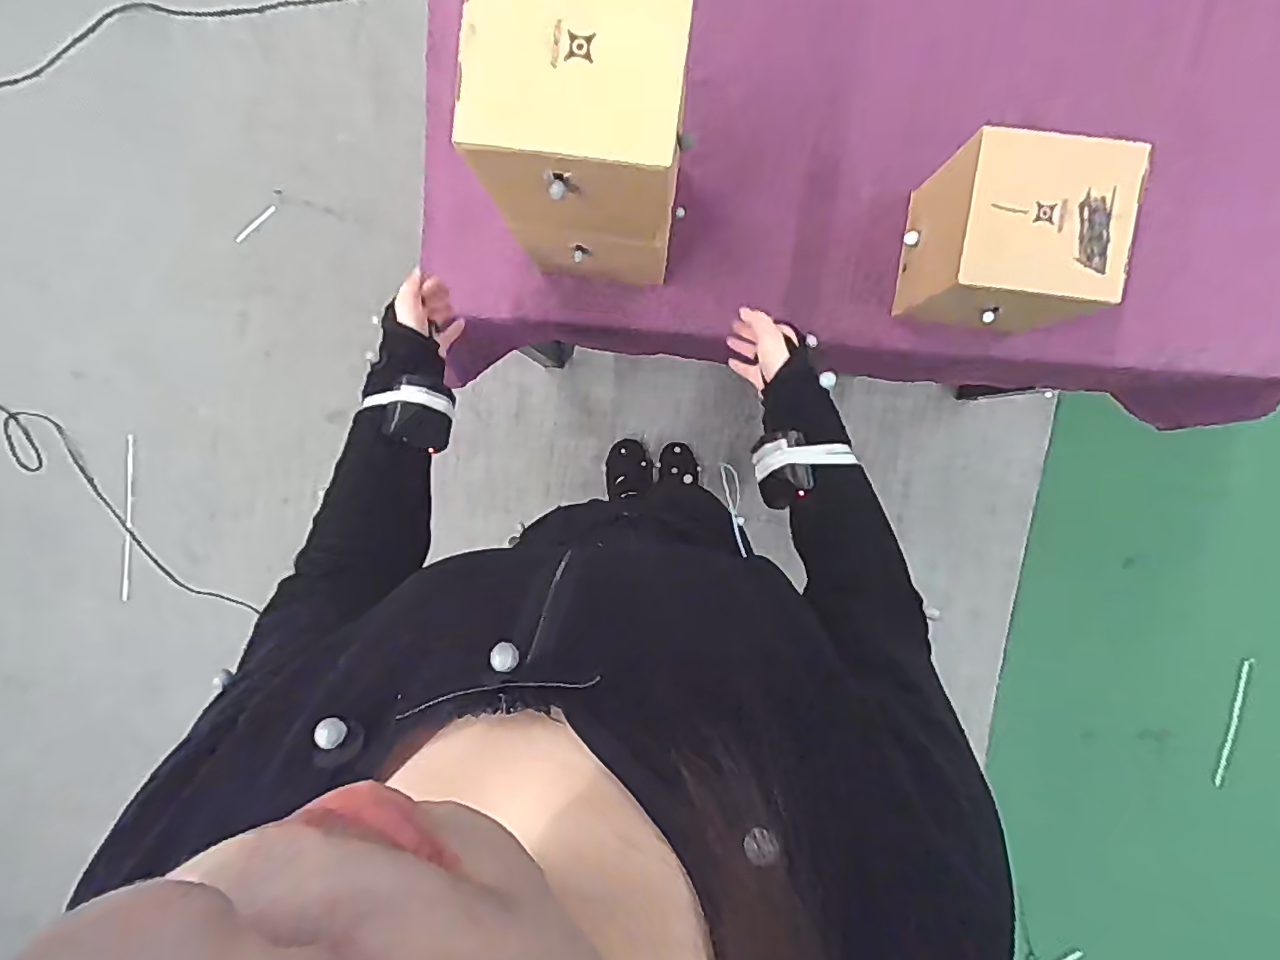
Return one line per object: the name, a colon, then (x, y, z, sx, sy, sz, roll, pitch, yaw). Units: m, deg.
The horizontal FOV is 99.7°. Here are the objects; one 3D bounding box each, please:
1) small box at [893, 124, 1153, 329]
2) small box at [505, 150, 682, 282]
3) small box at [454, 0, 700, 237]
small box: (0.435, -0.284, 0.645, 0.179, 0.176, 0.168, 8, 95, 2)
small box: (-0.046, -0.352, 0.653, 0.179, 0.176, 0.168, 9, 96, 1)
small box: (-0.046, -0.338, 0.491, 0.179, 0.176, 0.168, 8, 95, 2)
